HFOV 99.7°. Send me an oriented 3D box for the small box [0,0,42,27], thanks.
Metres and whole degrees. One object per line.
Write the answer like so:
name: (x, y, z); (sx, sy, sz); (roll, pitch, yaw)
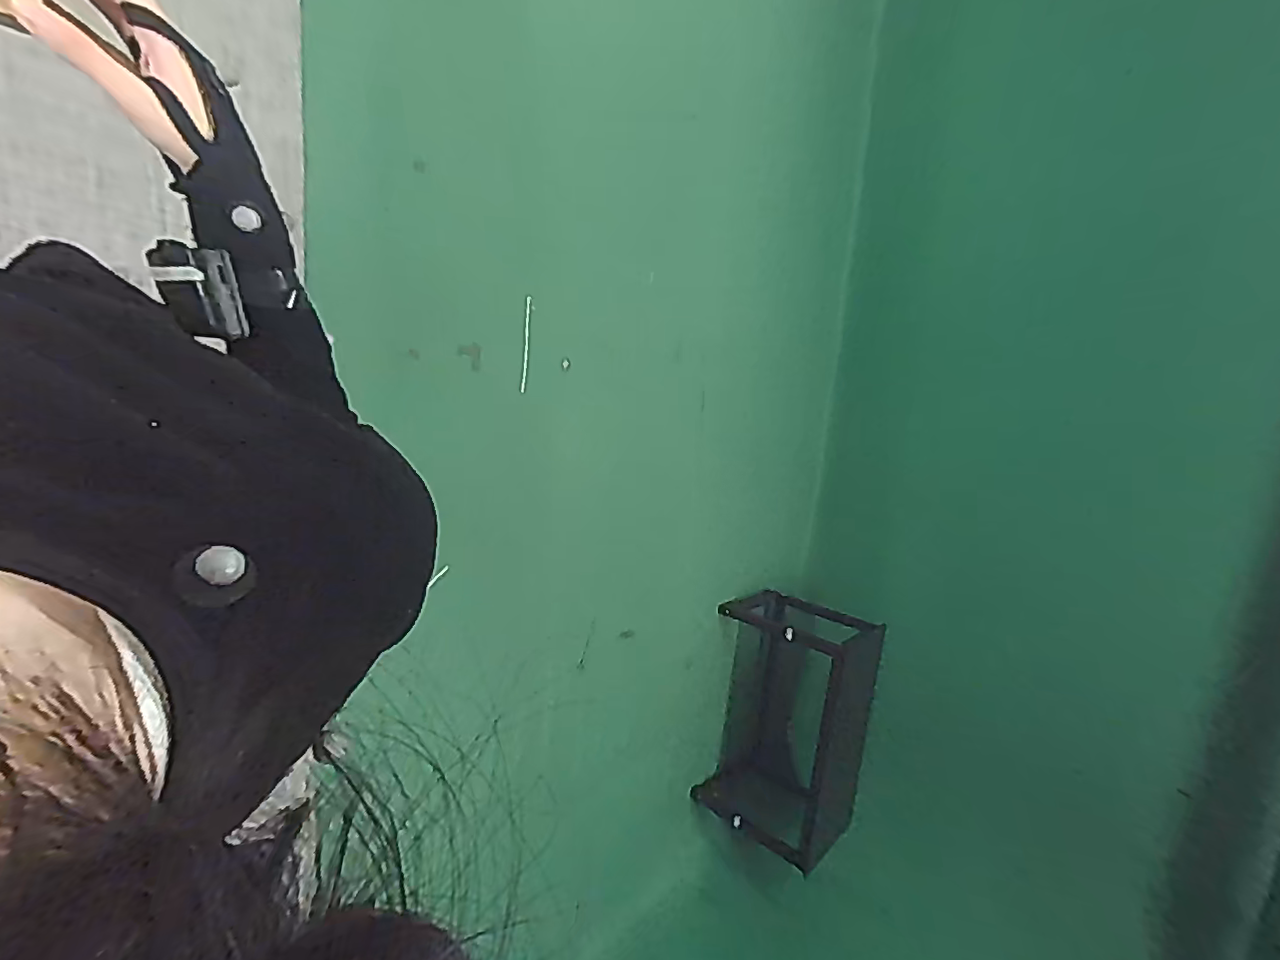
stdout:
small box: (-0.416, -0.349, 0.249); (0.179, 0.176, 0.168); (-6, 120, -47)
